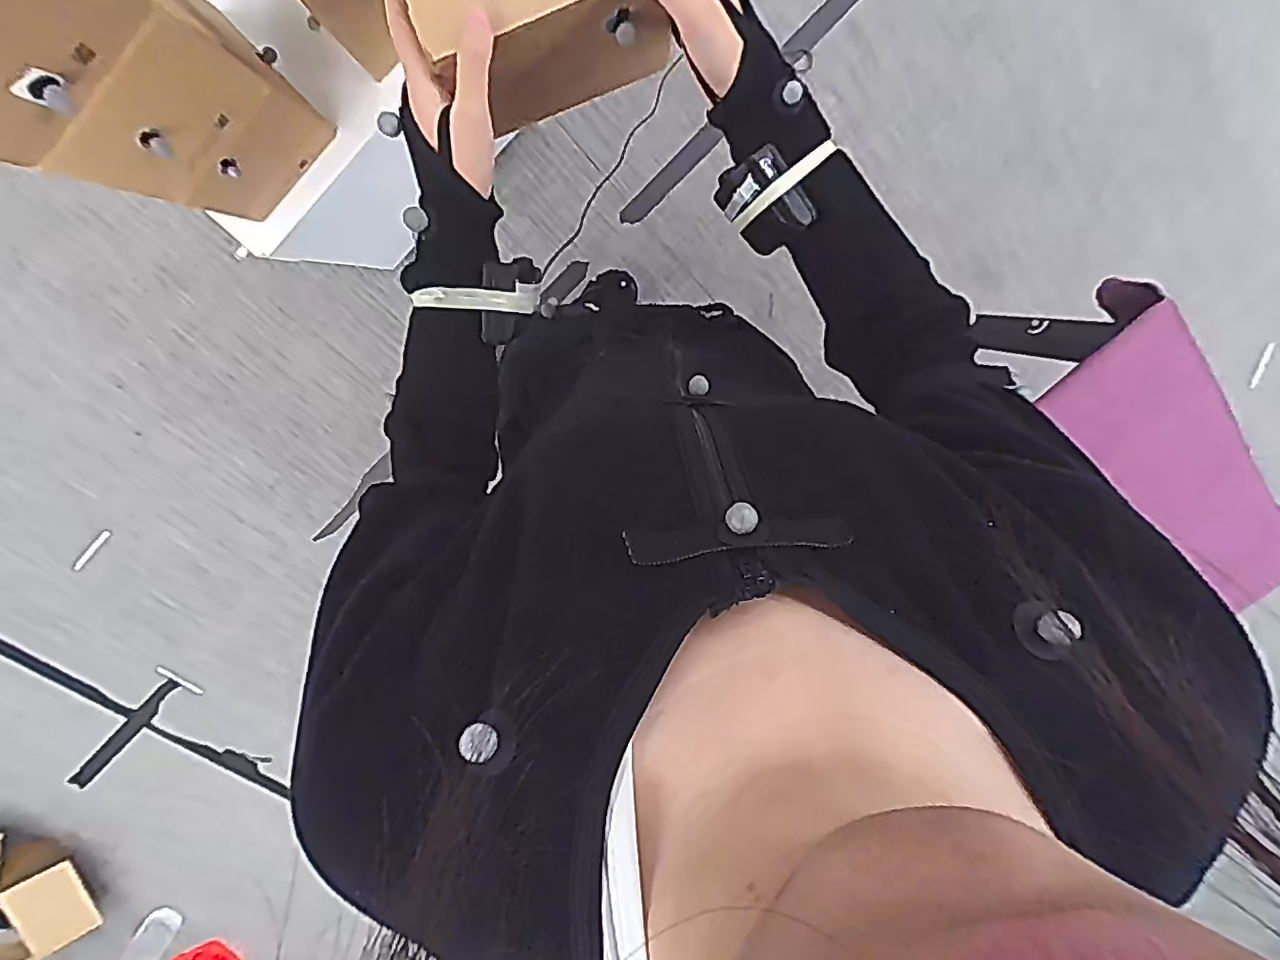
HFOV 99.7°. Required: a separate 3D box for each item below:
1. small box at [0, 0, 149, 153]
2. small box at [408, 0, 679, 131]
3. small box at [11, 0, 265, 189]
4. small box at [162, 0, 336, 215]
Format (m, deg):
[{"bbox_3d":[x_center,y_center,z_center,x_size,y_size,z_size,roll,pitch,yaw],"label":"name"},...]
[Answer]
[{"bbox_3d":[-0.462,-0.330,0.309,0.168,0.176,0.179,-44,109,10],"label":"small box"},{"bbox_3d":[-0.078,-0.383,0.379,0.179,0.176,0.168,-20,107,4],"label":"small box"},{"bbox_3d":[-0.479,-0.380,0.462,0.168,0.176,0.179,-44,108,9],"label":"small box"},{"bbox_3d":[-0.498,-0.434,0.614,0.168,0.176,0.179,-42,107,9],"label":"small box"}]
